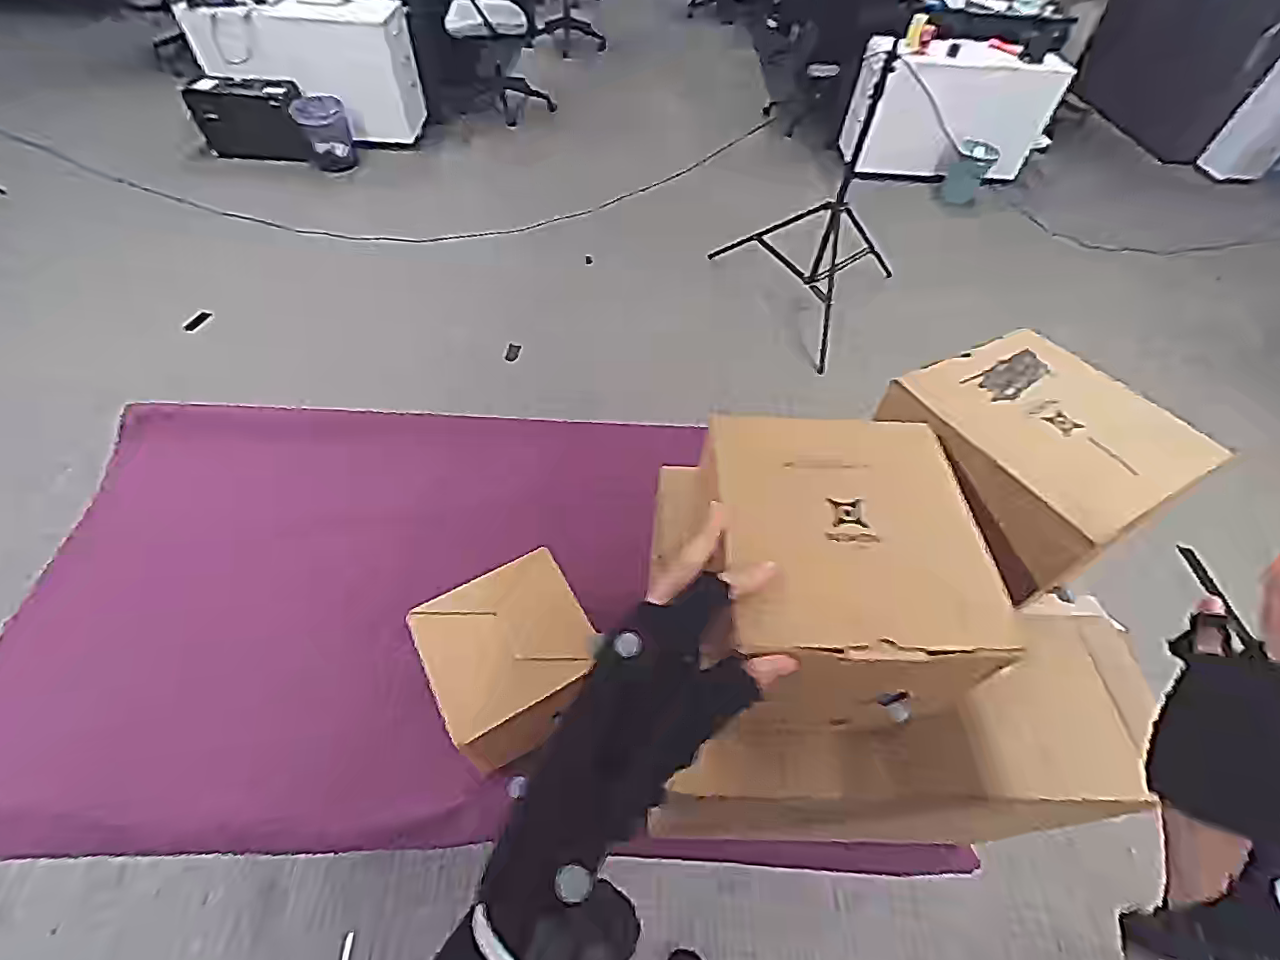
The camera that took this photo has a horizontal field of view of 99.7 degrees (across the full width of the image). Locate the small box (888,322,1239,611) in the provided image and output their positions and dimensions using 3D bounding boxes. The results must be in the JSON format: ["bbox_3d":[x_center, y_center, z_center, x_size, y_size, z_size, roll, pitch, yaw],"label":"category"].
[{"bbox_3d":[0.308,-0.003,0.463,0.168,0.176,0.179,-21,54,-19],"label":"small box"}]

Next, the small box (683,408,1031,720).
[{"bbox_3d":[0.126,0.068,0.401,0.168,0.176,0.179,2,51,-4],"label":"small box"}]

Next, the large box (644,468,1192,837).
[{"bbox_3d":[0.216,0.202,0.610,0.408,0.320,0.320,2,53,-2],"label":"large box"}]

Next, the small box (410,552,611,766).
[{"bbox_3d":[-0.150,0.212,0.659,0.179,0.176,0.168,-24,57,-19],"label":"small box"}]
